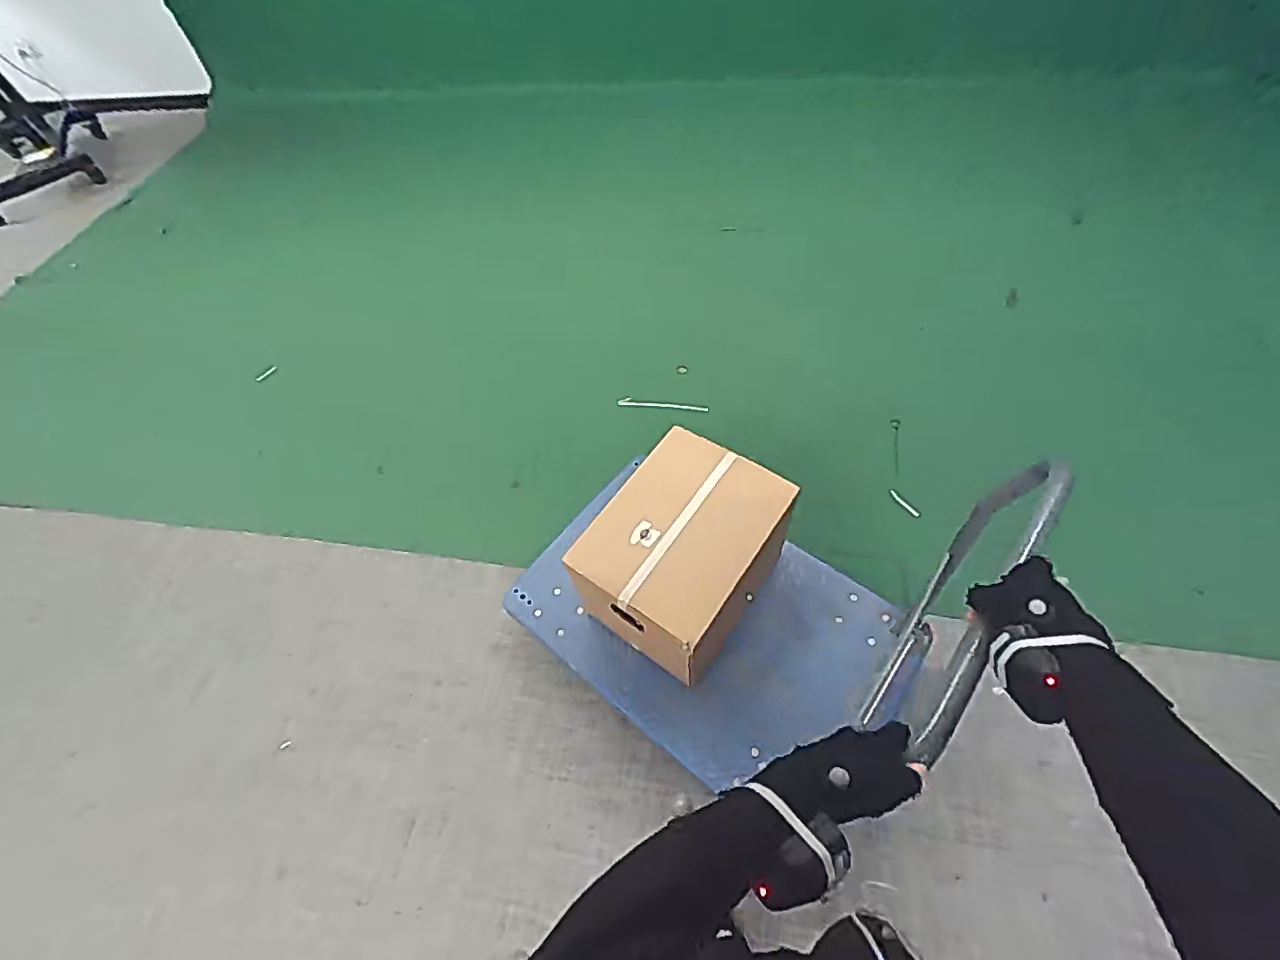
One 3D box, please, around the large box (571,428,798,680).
[{"bbox_3d":[0.107,0.167,1.220,0.320,0.320,0.408,29,65,22],"label":"large box"}]
